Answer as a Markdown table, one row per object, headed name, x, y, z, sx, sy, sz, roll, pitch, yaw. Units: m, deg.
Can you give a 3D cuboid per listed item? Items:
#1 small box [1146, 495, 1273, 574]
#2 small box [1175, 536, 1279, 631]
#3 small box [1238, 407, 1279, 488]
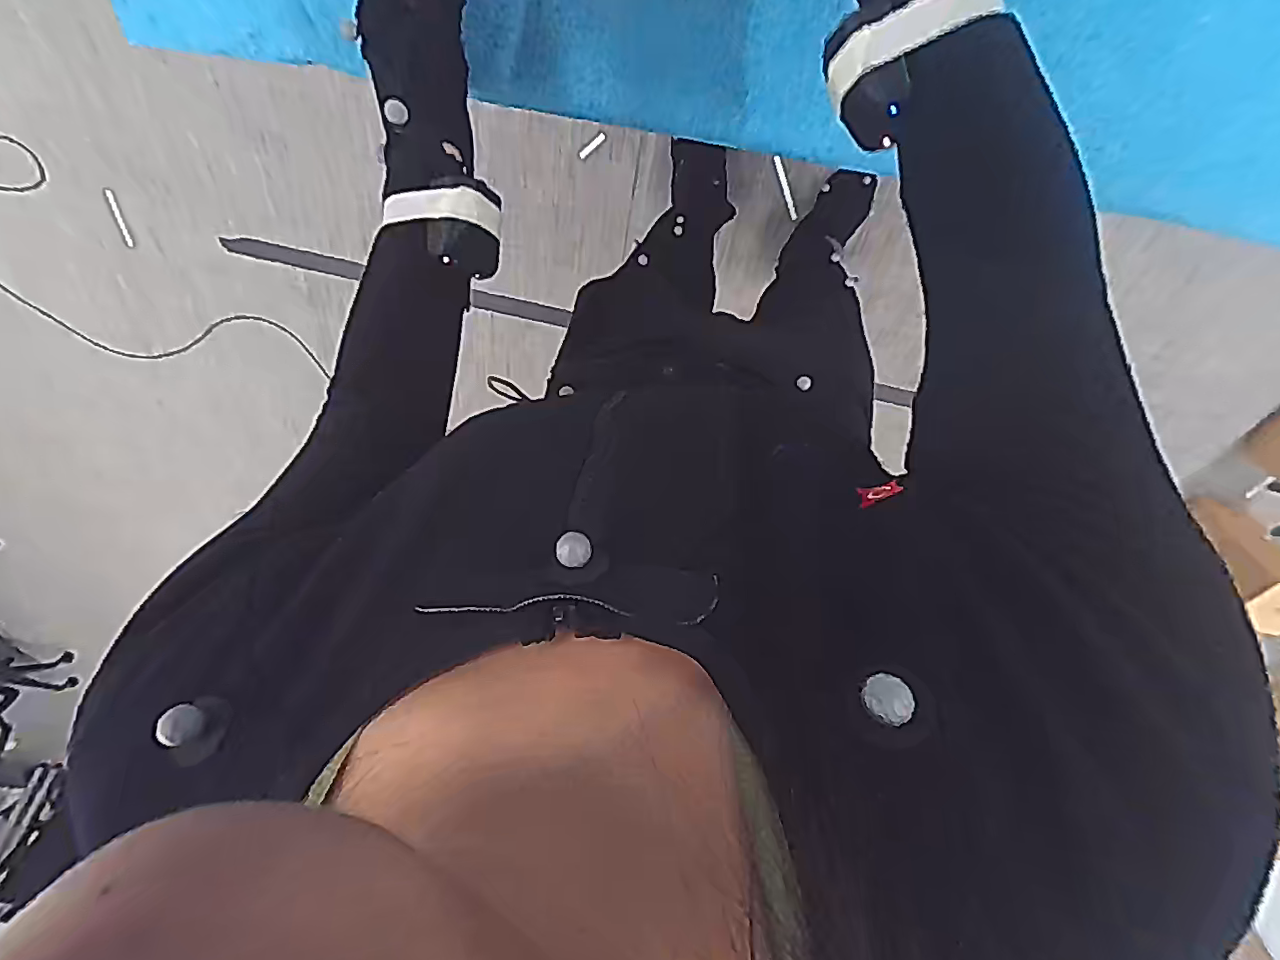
| name | x | y | z | sx | sy | sz | roll | pitch | yaw |
| --- | --- | --- | --- | --- | --- | --- | --- | --- | --- |
| small box | 1.640 | 0.174 | 1.572 | 0.168 | 0.176 | 0.179 | 14 | 133 | -5 |
| small box | 1.620 | 0.273 | 1.444 | 0.179 | 0.176 | 0.168 | 15 | 131 | -4 |
| small box | 1.676 | -0.082 | 1.340 | 0.168 | 0.176 | 0.179 | 8 | 132 | 1 |
